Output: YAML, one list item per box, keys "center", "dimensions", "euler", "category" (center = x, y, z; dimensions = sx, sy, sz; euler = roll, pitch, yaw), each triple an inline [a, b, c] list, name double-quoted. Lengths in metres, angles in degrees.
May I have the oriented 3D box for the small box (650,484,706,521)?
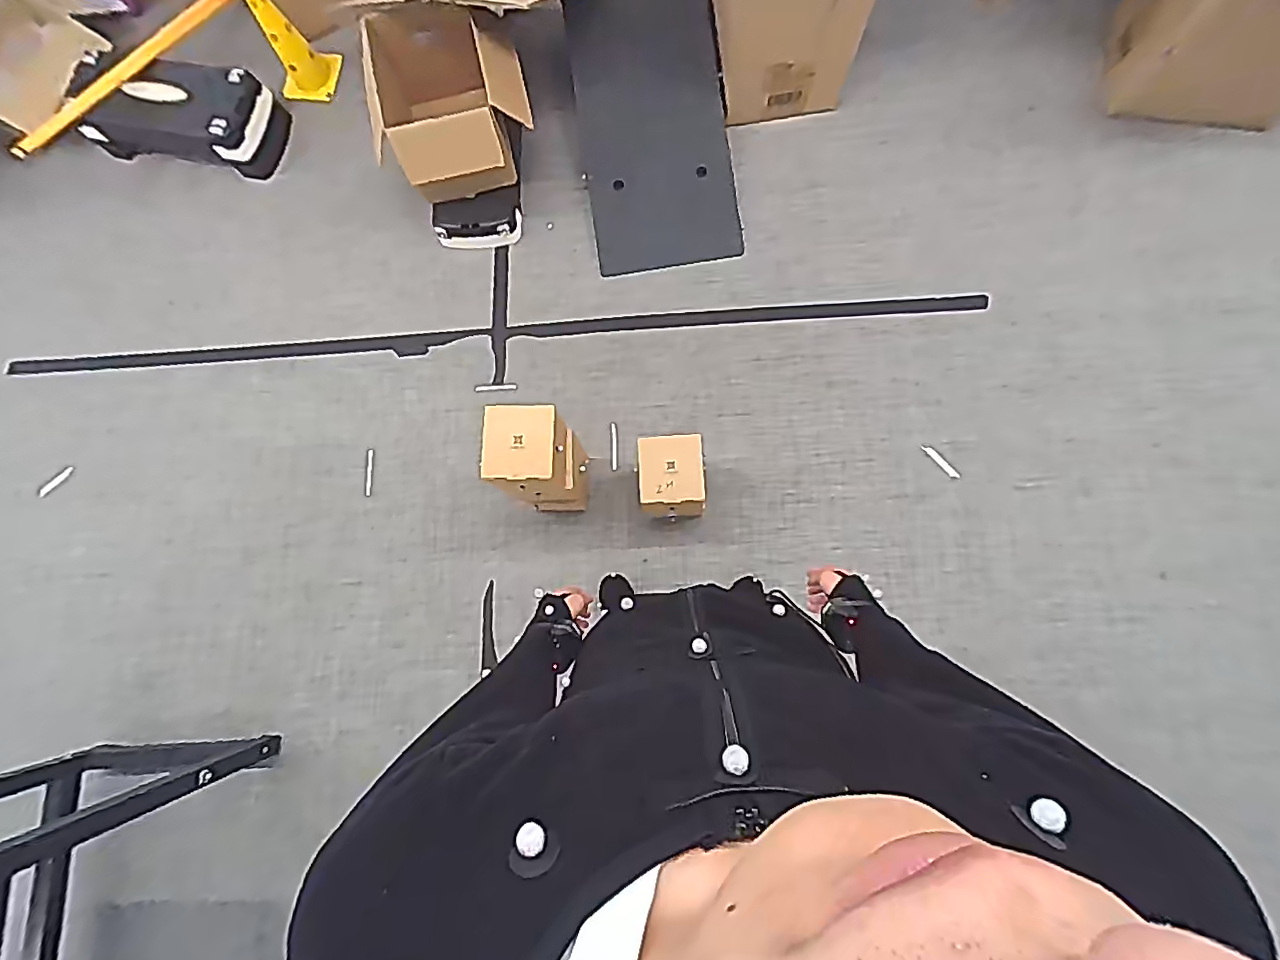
- center: [0.105, 0.023, 1.607]
  dimensions: [0.168, 0.176, 0.179]
  euler: [-4, 80, 4]
  category: "small box"

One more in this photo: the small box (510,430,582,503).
- center: [-0.256, -0.031, 1.466]
  dimensions: [0.179, 0.176, 0.168]
  euler: [-2, 79, 1]
  category: "small box"

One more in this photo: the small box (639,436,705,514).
- center: [0.084, -0.008, 1.446]
  dimensions: [0.168, 0.176, 0.179]
  euler: [-3, 80, 4]
  category: "small box"

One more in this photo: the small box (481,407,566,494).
- center: [-0.274, -0.067, 1.308]
  dimensions: [0.168, 0.176, 0.179]
  euler: [0, 80, 2]
  category: "small box"
